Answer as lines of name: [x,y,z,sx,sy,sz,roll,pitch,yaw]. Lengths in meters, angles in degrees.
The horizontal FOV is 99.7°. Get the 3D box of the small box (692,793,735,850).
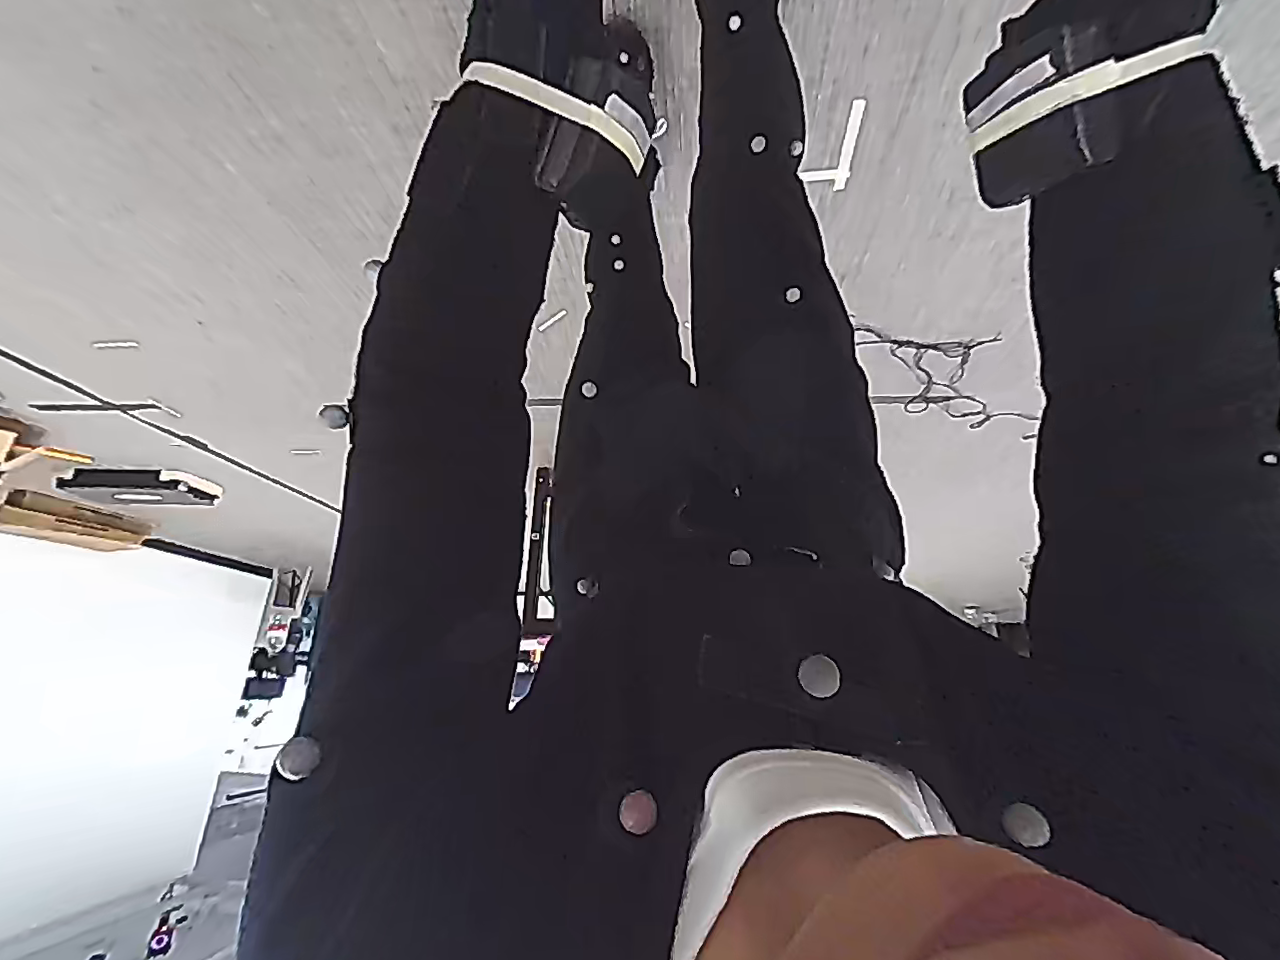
small box: [0.304,1.401,2.229,0.168,0.176,0.179,-2,160,13]
